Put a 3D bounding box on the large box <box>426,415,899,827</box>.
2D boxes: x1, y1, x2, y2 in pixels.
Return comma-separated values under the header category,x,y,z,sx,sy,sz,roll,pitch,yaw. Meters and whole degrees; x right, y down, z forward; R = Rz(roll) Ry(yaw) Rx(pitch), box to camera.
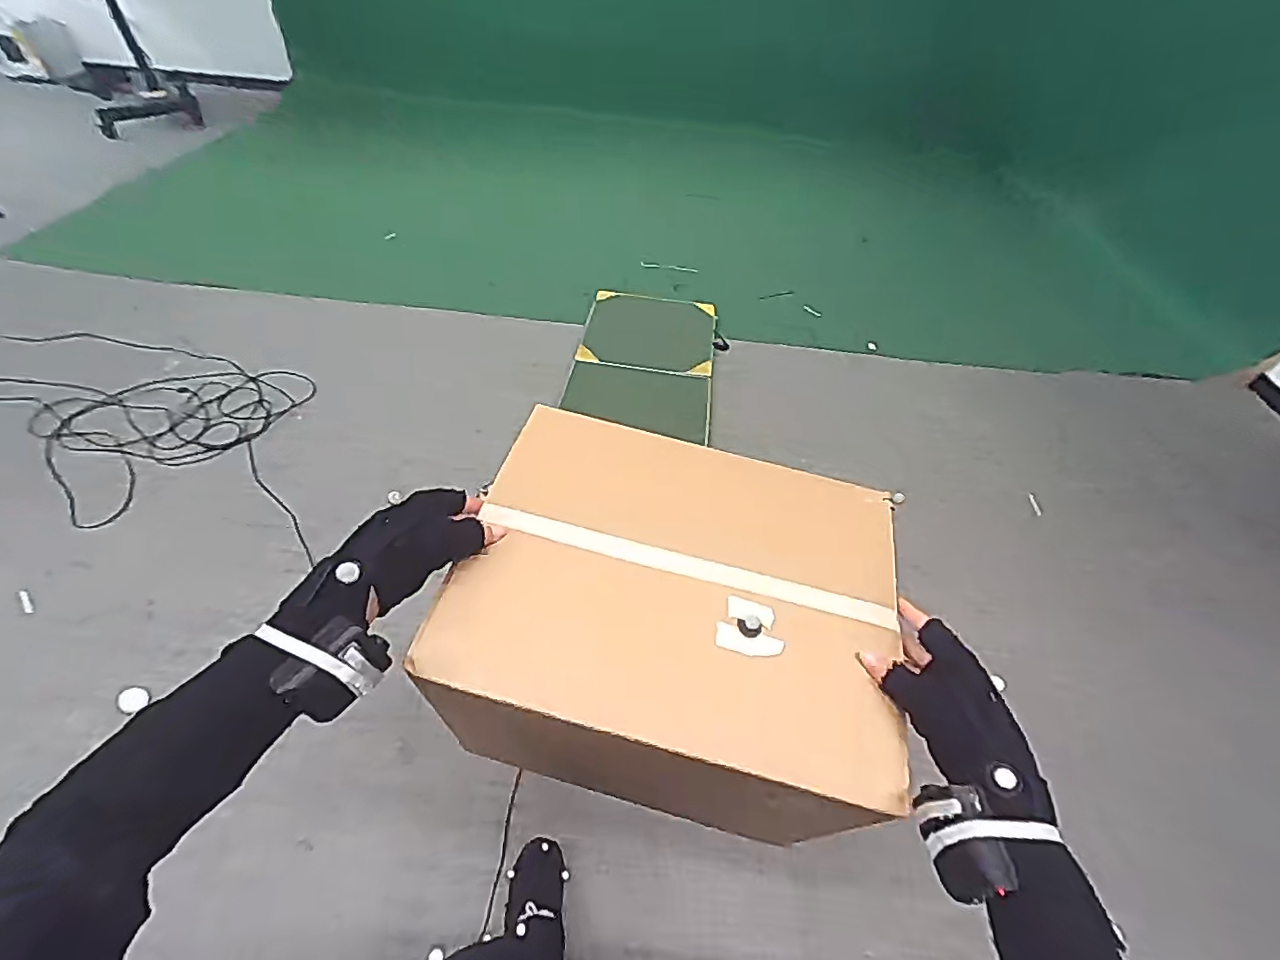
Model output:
category,x,y,z,sx,sy,sz,roll,pitch,yaw
large box,0.026,0.174,0.642,0.408,0.320,0.320,14,53,2
